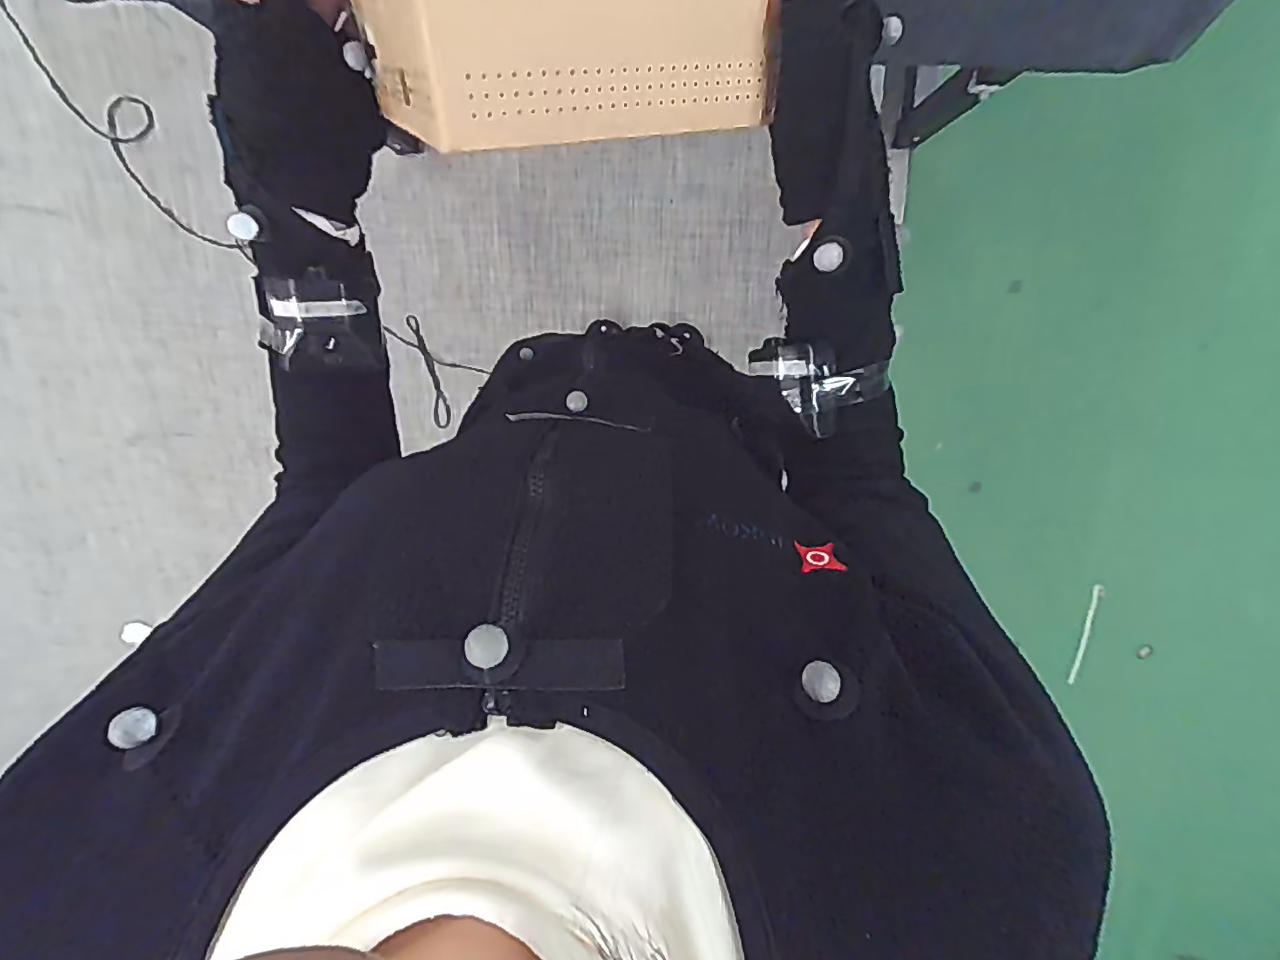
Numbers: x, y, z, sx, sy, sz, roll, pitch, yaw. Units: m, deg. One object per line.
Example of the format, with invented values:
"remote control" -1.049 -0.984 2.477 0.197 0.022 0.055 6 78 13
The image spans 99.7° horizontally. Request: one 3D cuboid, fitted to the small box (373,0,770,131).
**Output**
"small box" -0.042 -0.282 0.268 0.179 0.168 0.176 -21 134 -23
